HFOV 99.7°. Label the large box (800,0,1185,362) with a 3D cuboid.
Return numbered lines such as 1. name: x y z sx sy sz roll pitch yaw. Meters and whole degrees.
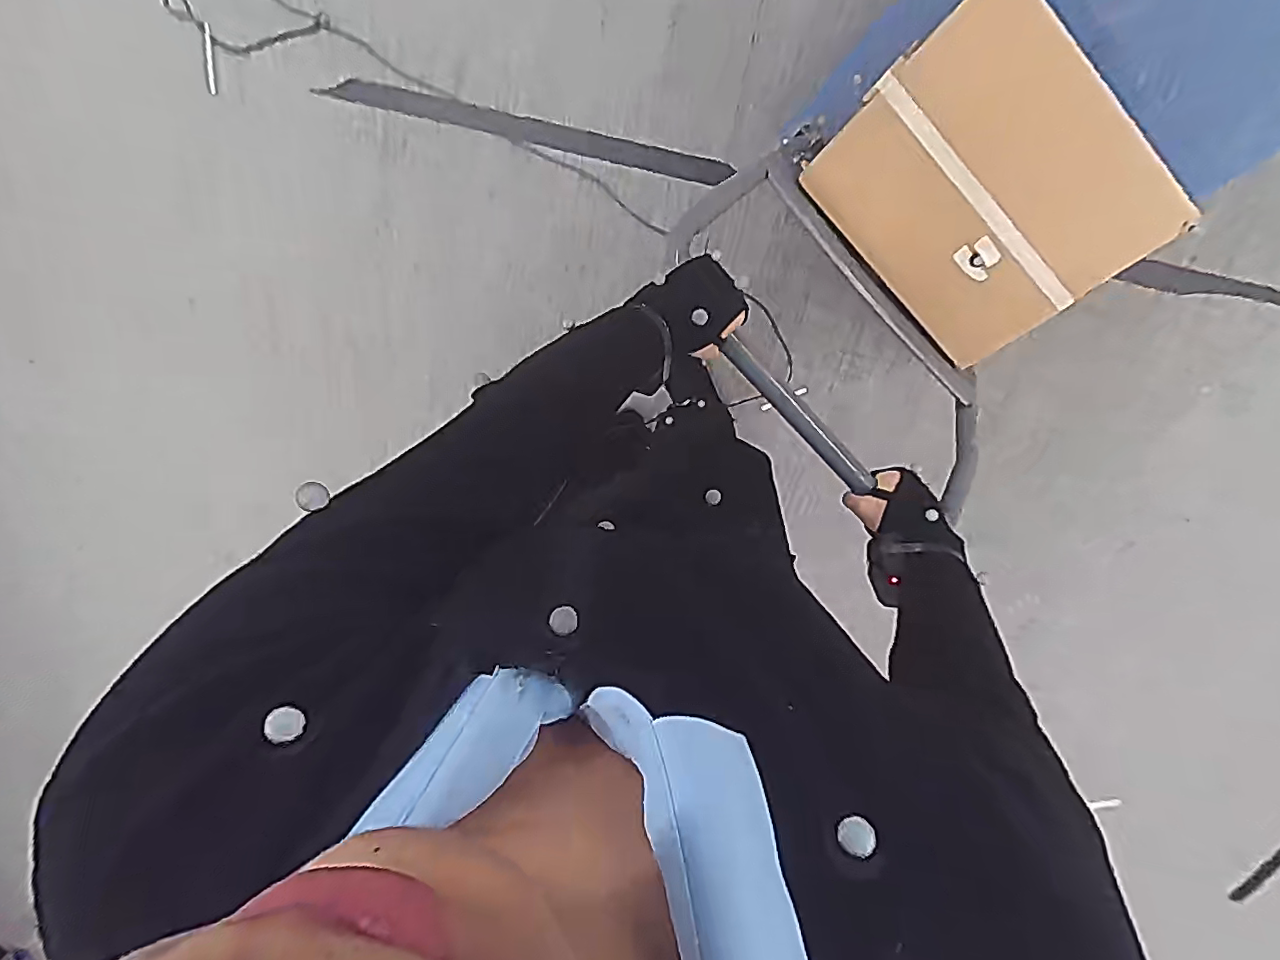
1. large box: 0.527 -0.480 0.878 0.408 0.320 0.320 44 131 -9
